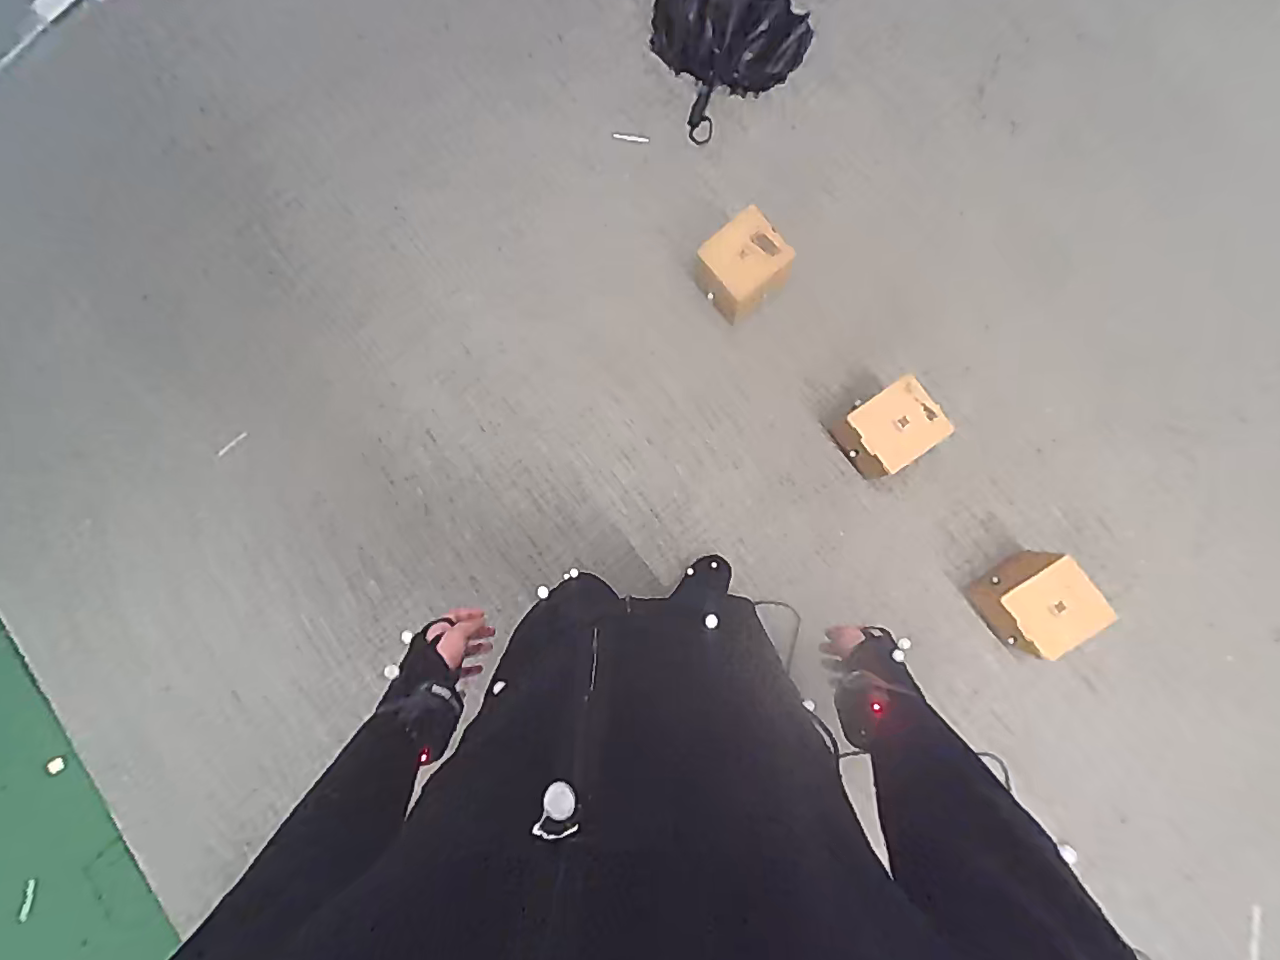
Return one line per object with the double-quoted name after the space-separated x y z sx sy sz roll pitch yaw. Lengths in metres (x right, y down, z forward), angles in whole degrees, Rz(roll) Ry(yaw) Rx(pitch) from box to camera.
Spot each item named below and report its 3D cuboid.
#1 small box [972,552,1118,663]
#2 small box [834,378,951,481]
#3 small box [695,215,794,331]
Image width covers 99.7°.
0.893 0.279 1.222 0.179 0.176 0.168 -37 83 2 "small box"
0.586 -0.110 1.287 0.179 0.176 0.168 -36 82 4 "small box"
0.254 -0.509 1.354 0.179 0.176 0.168 -39 82 4 "small box"
